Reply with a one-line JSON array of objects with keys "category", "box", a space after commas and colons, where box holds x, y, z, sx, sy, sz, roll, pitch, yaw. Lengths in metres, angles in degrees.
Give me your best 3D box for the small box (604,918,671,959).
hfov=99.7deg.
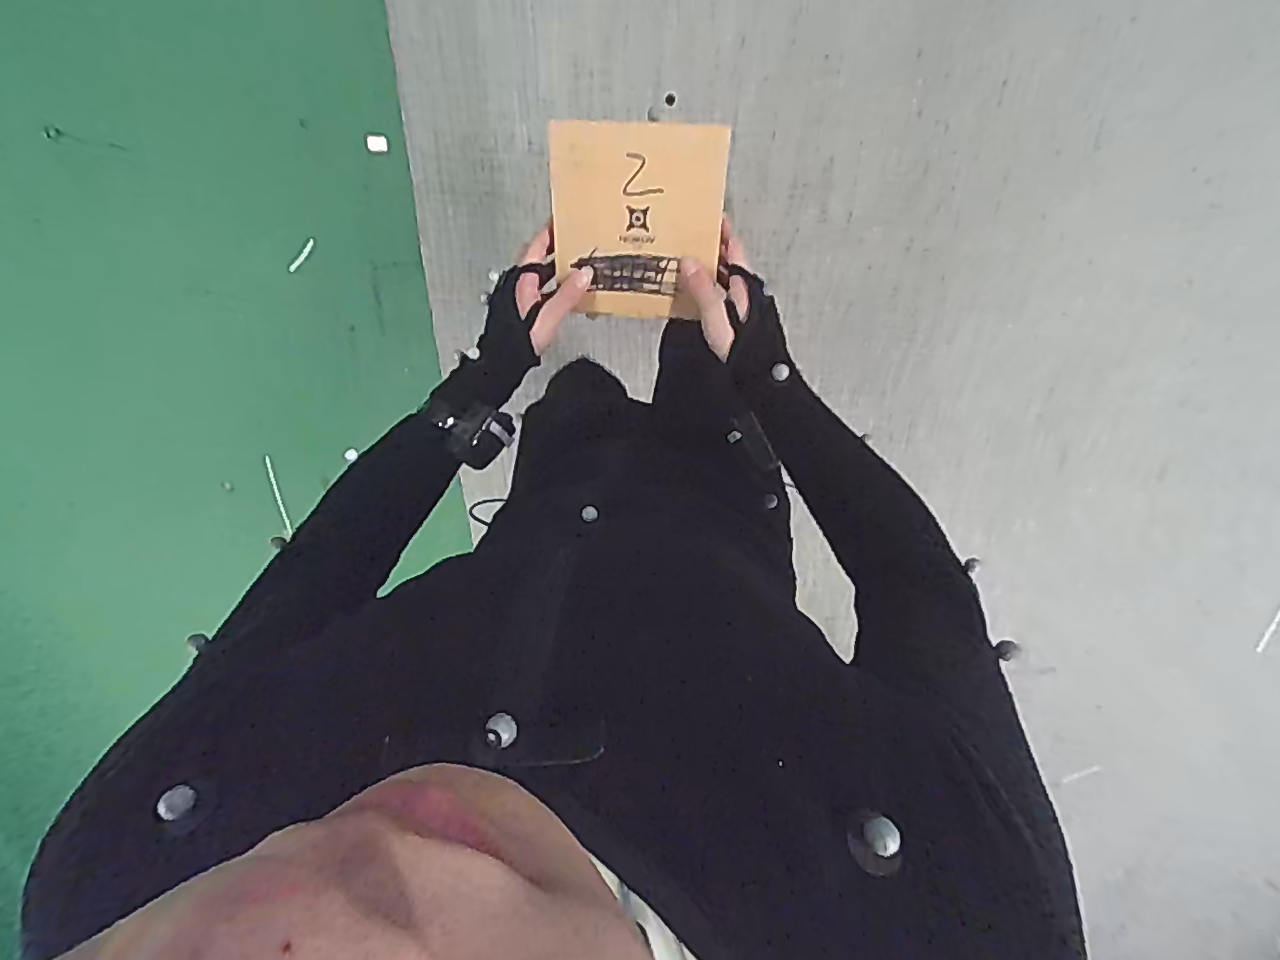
[{"category": "small box", "box": [-0.008, 1.282, 1.397, 0.168, 0.176, 0.179, 3, 117, 5]}]
